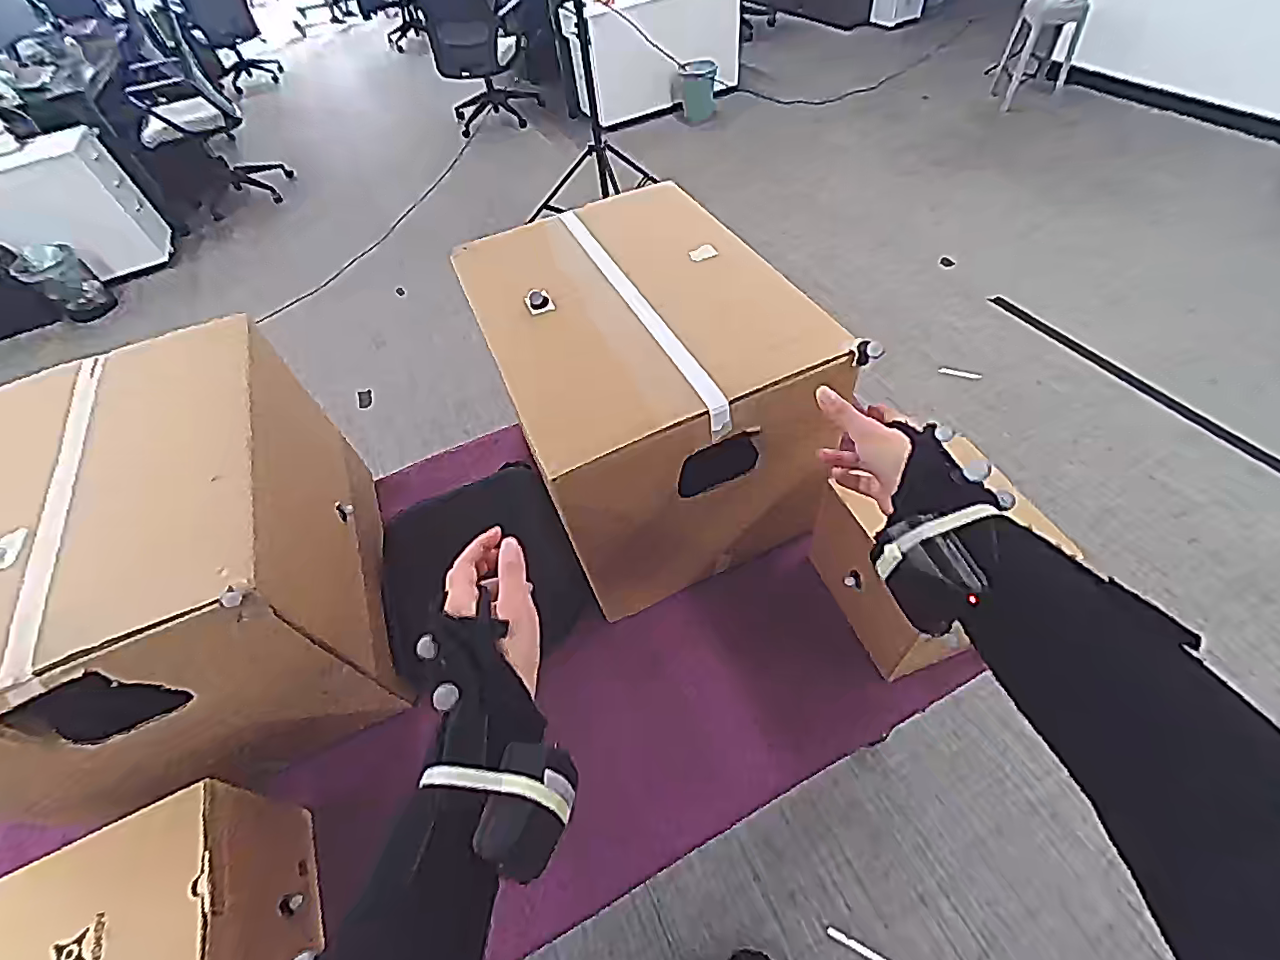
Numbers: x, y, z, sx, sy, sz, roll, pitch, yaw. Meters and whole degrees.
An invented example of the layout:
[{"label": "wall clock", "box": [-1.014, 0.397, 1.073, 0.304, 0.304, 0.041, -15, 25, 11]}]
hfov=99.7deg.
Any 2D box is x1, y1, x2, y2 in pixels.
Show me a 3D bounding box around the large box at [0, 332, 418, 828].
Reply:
[{"label": "large box", "box": [-0.502, 0.106, 0.623, 0.320, 0.320, 0.408, -24, 56, -11]}]
